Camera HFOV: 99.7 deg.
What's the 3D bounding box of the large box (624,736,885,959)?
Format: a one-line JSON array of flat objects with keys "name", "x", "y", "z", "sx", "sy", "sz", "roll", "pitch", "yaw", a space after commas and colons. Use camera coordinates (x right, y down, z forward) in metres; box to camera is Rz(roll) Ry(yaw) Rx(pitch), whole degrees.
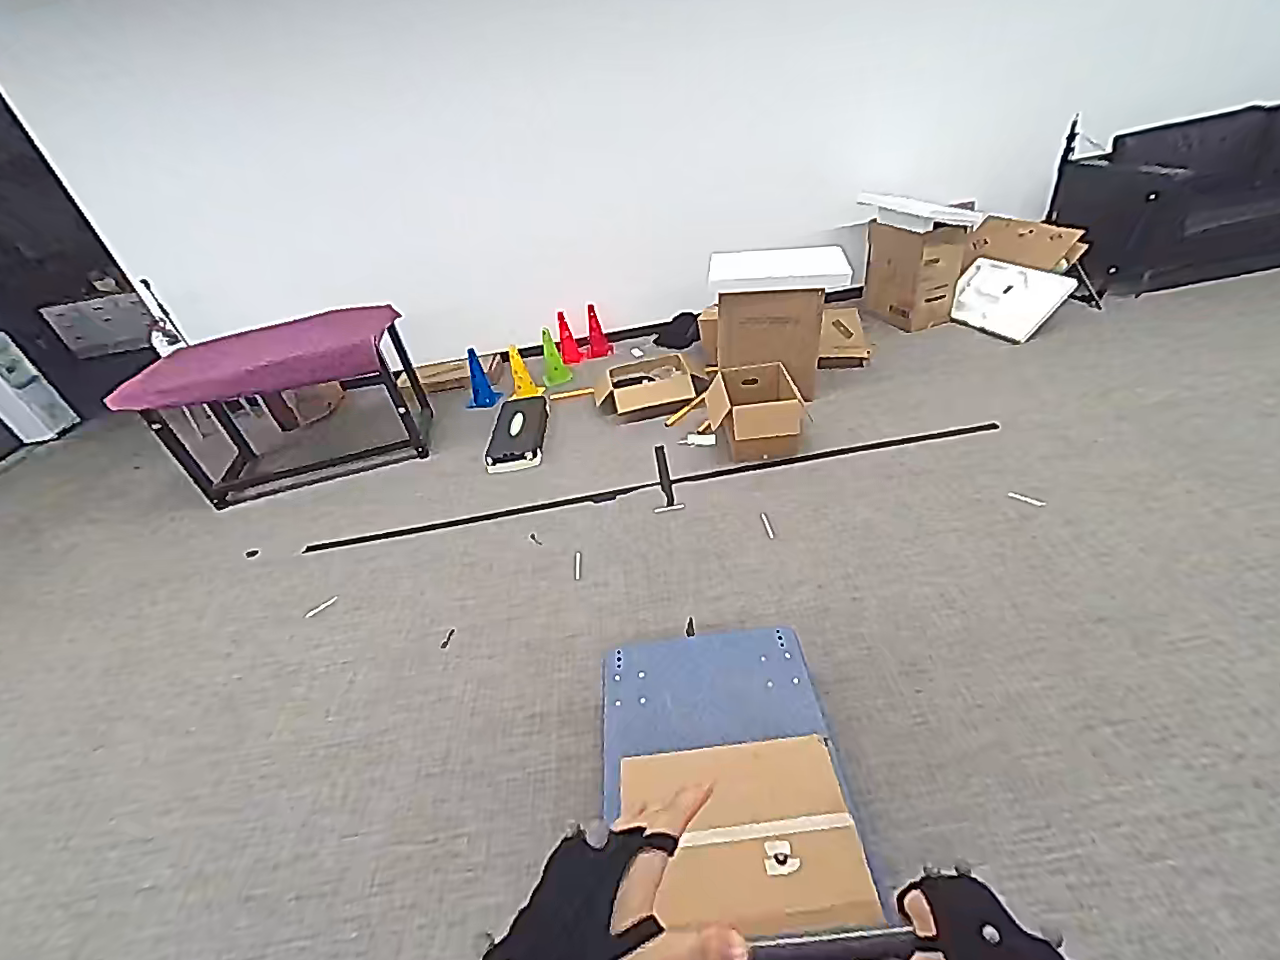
[{"name": "large box", "x": 0.190, "y": 0.744, "z": 1.040, "sx": 0.408, "sy": 0.320, "sz": 0.320, "roll": -7, "pitch": 36, "yaw": 1}]
